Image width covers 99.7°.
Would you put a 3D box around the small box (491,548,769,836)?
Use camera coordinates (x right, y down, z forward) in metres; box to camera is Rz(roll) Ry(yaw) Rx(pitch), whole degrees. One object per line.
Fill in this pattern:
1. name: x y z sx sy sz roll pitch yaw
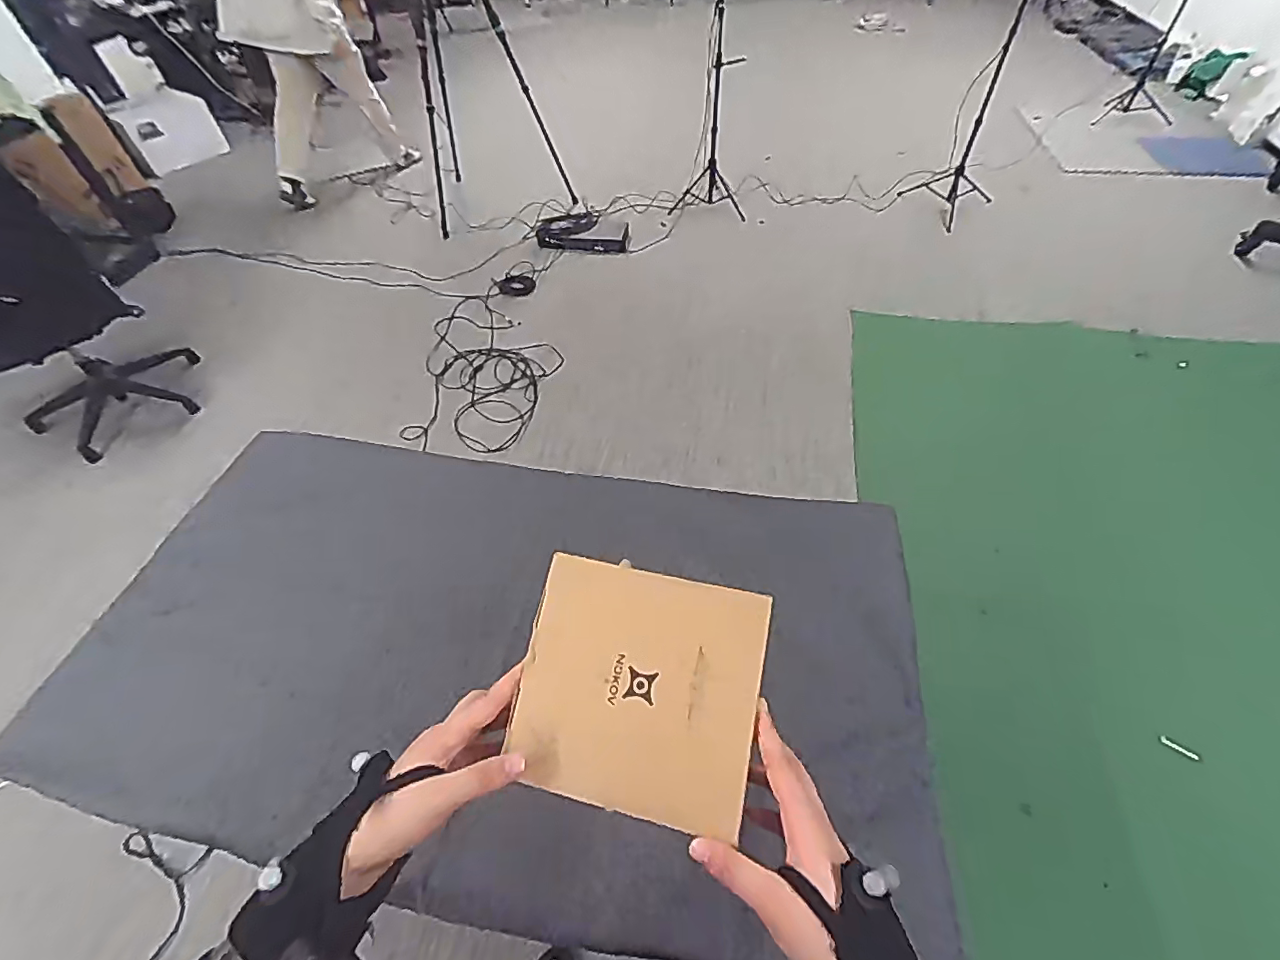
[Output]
1. small box: 0.005 0.167 0.461 0.179 0.176 0.168 9 73 10
